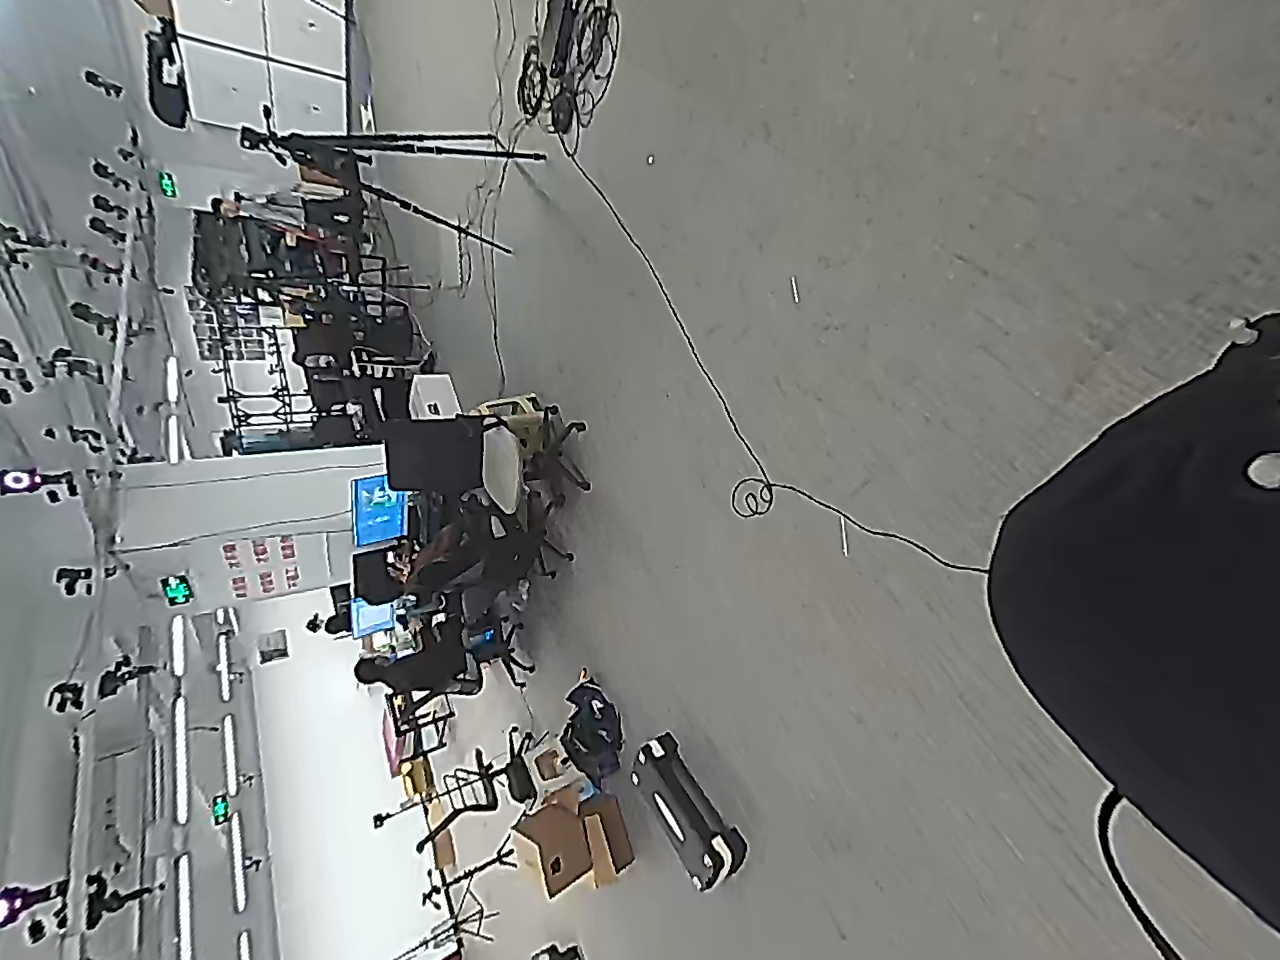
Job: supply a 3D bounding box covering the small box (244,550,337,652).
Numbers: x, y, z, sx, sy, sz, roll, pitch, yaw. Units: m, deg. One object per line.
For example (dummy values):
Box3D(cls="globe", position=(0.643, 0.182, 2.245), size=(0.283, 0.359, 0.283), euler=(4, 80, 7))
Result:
Box3D(cls="small box", position=(-0.888, 0.297, 1.374), size=(0.168, 0.176, 0.179), euler=(-12, 144, -39))
